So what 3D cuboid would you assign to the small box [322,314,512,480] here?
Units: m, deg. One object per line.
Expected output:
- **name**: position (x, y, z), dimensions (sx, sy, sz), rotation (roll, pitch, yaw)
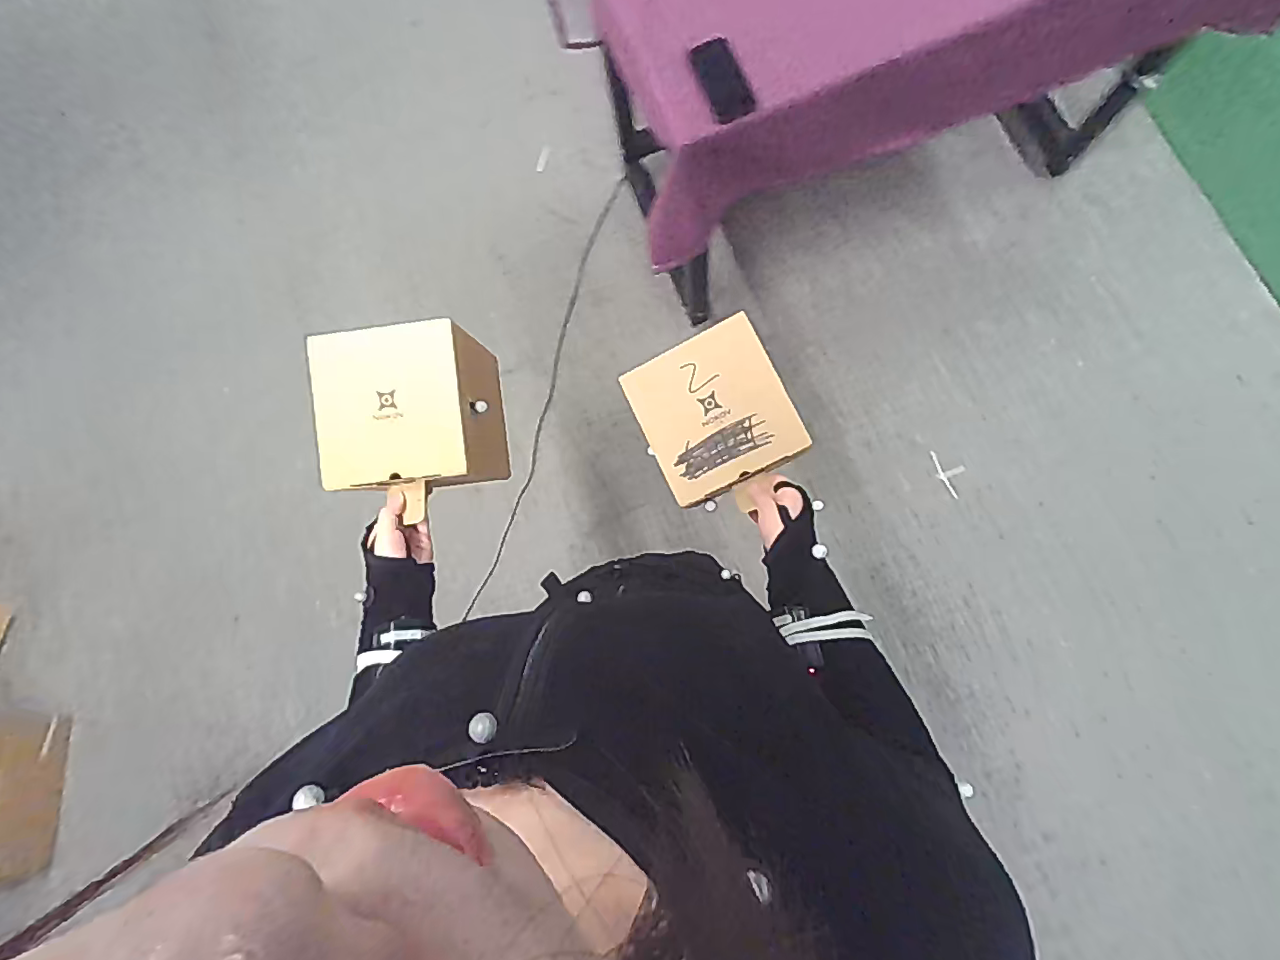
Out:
- **small box**: position (-0.268, -0.093, 0.686), dimensions (0.168, 0.176, 0.179), rotation (-5, 90, 2)
